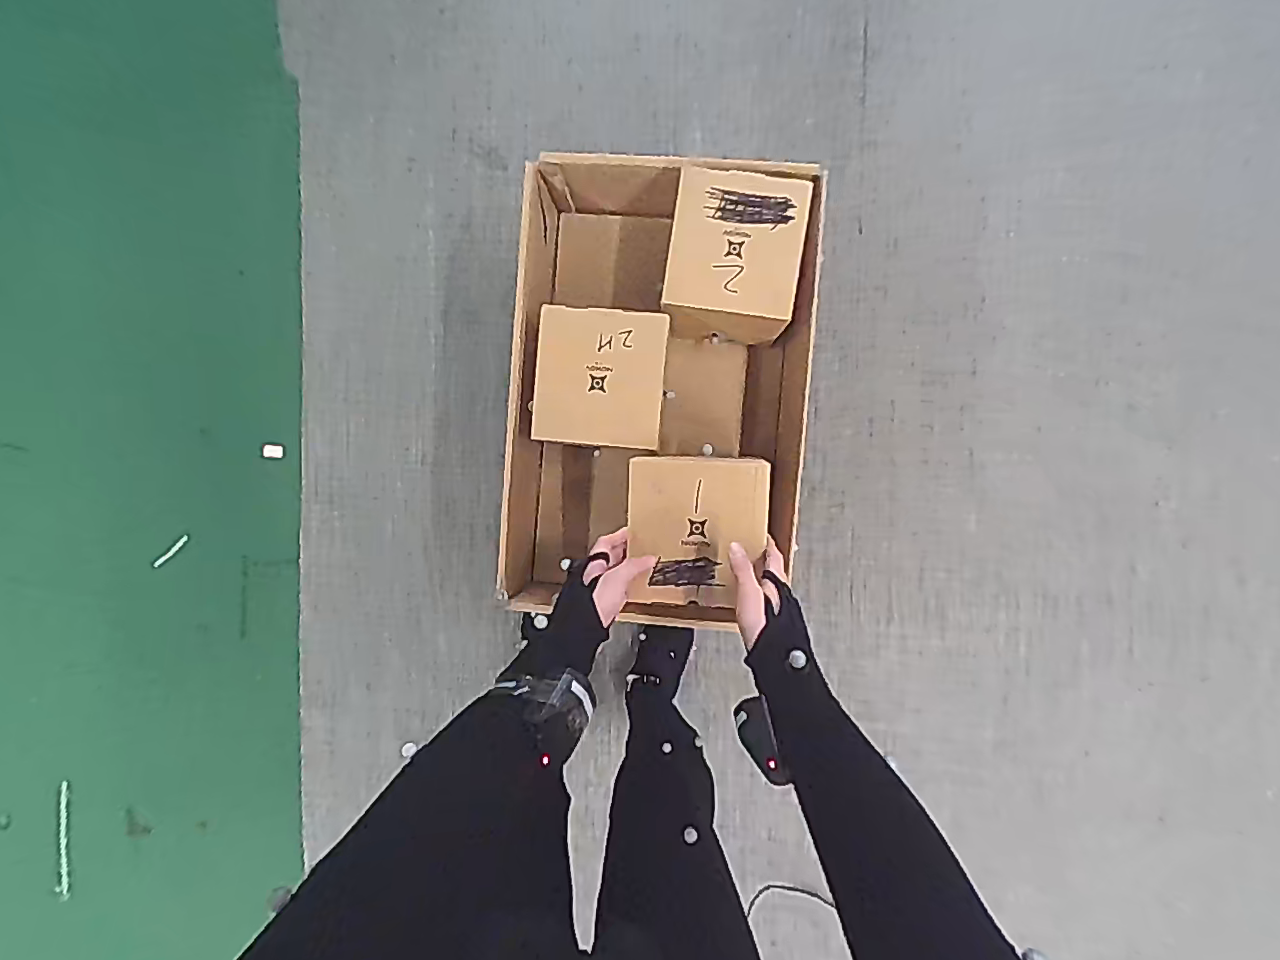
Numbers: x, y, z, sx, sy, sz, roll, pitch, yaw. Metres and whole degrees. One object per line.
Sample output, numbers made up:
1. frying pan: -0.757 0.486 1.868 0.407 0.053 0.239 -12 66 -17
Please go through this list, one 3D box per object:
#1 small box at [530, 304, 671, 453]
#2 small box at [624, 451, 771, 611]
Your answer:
1. small box: -0.046 -0.132 0.760 0.168 0.176 0.179 6 92 3
2. small box: 0.077 0.055 0.706 0.168 0.176 0.179 2 95 8
